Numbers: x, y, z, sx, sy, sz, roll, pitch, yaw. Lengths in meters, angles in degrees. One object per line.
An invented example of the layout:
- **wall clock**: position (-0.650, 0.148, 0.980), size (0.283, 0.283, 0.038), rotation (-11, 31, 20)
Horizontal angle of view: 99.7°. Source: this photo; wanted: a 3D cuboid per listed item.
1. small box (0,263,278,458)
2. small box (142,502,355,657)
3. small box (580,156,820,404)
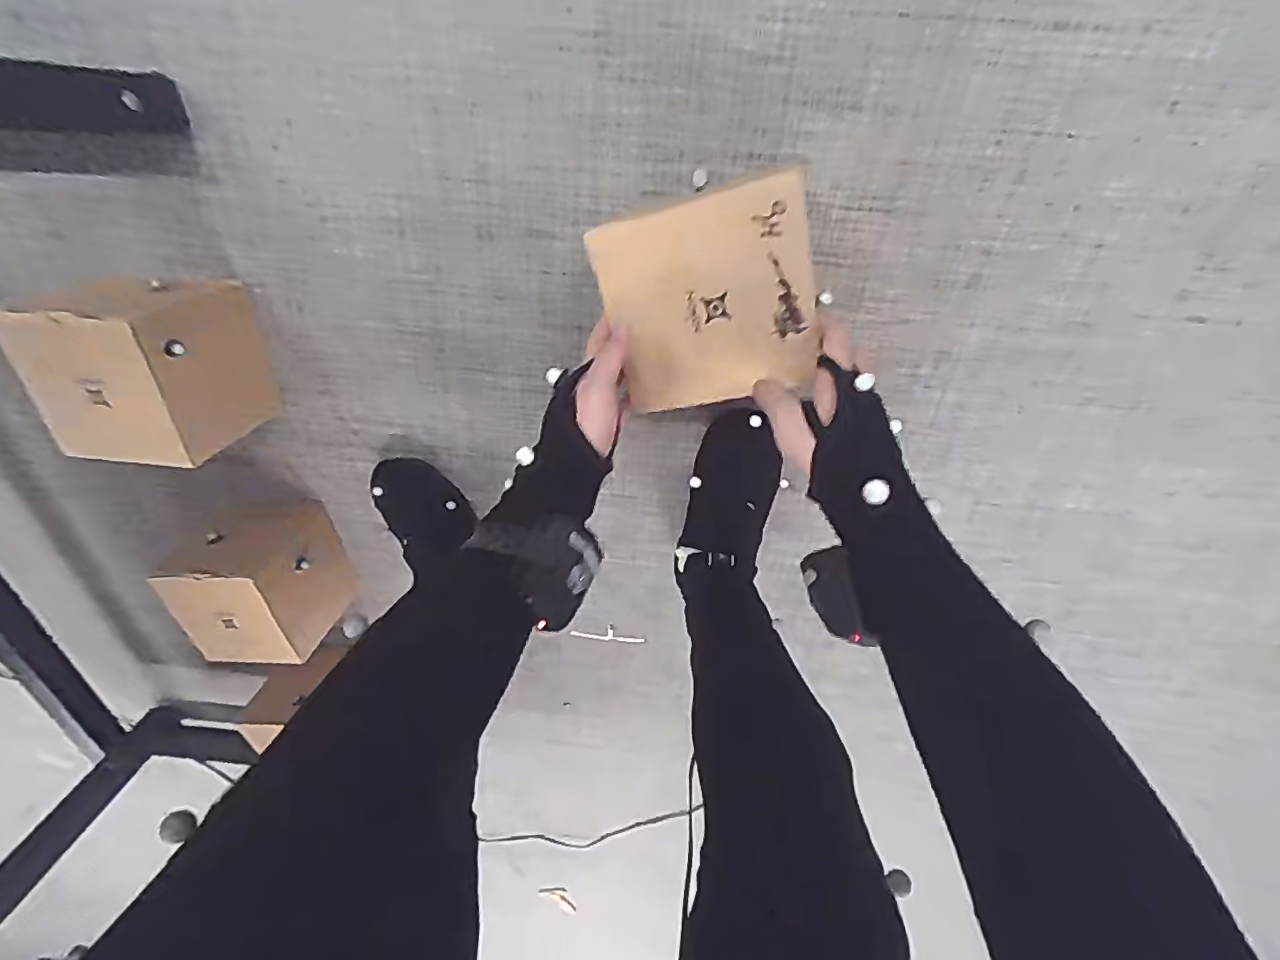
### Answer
- **small box**: position (-0.580, -0.148, 0.649), size (0.168, 0.176, 0.179), rotation (6, 121, 3)
- **small box**: position (-0.578, 0.146, 0.829), size (0.168, 0.176, 0.179), rotation (0, 122, 7)
- **small box**: position (0.069, -0.189, 0.508), size (0.179, 0.176, 0.168), rotation (-7, 119, 18)
